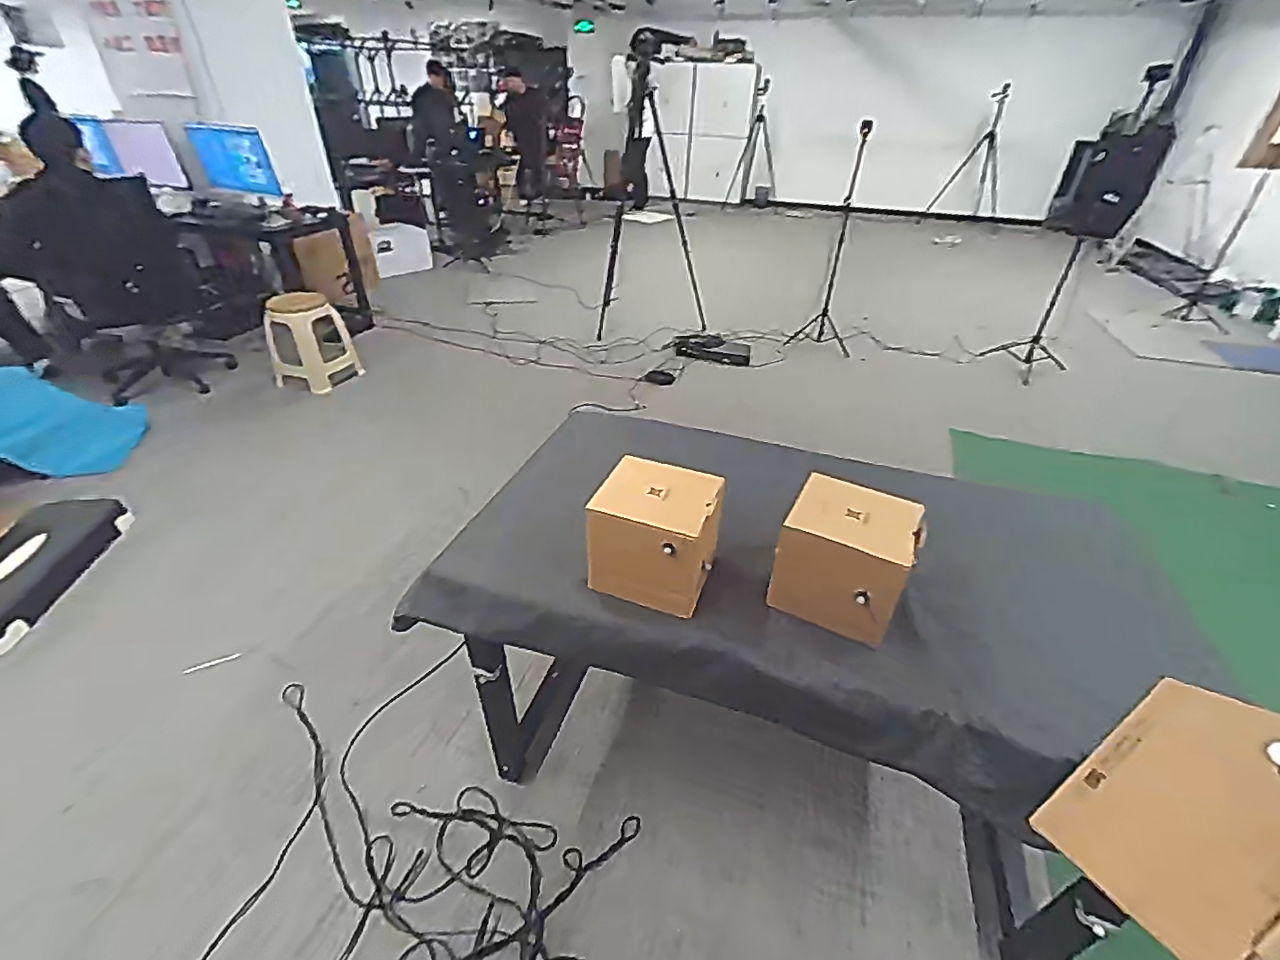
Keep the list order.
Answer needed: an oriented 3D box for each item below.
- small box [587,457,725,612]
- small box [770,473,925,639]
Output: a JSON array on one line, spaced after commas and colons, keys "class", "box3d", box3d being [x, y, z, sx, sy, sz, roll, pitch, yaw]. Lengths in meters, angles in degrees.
[{"class": "small box", "box3d": [0.026, 0.087, 0.878, 0.179, 0.176, 0.168, 14, 35, 16]}, {"class": "small box", "box3d": [0.319, 0.118, 0.844, 0.179, 0.176, 0.168, 18, 37, 24]}]
